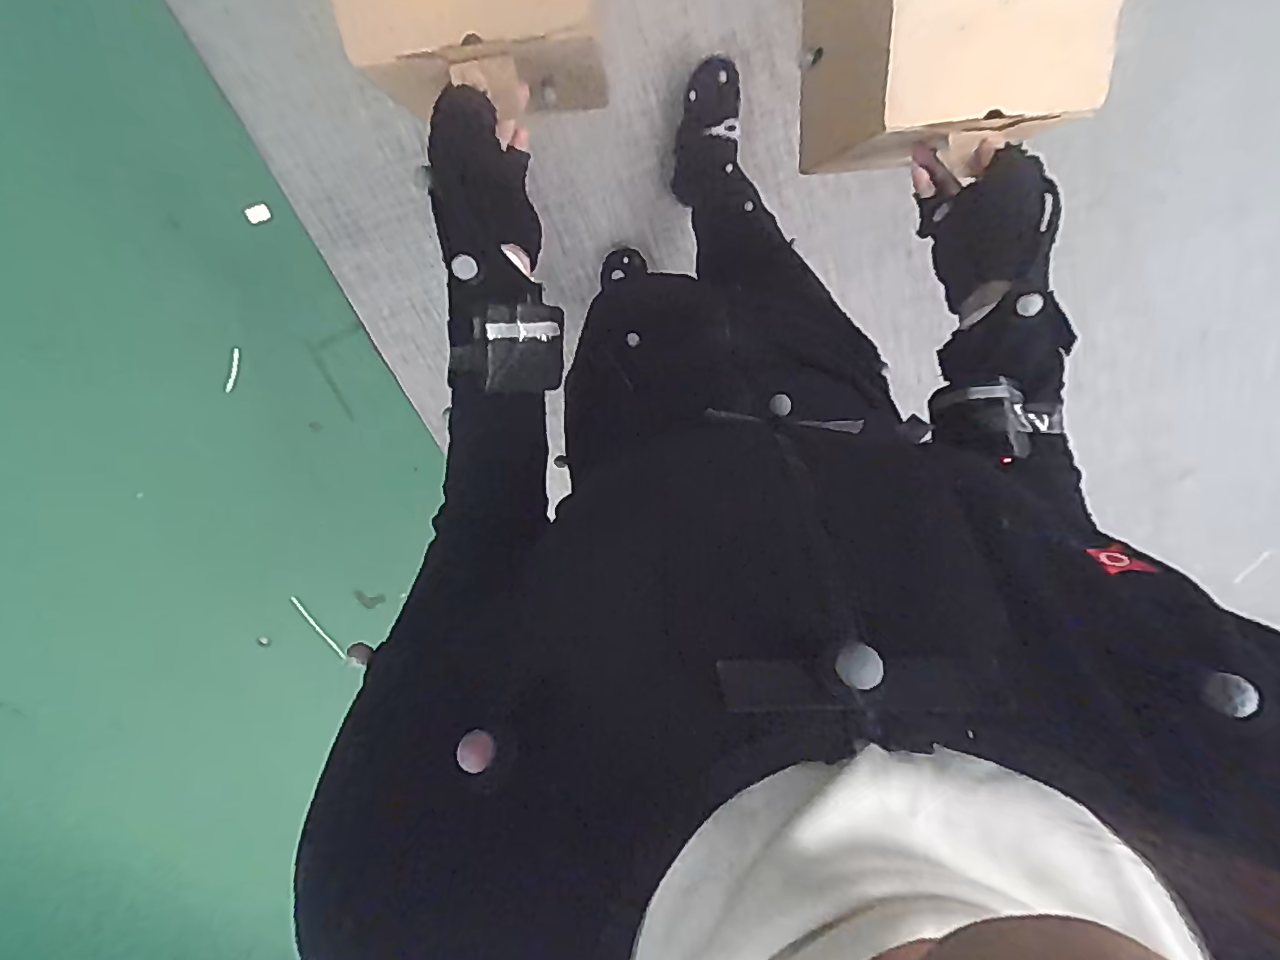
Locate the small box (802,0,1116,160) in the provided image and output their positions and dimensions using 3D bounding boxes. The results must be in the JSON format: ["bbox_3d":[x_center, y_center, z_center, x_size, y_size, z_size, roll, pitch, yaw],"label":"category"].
[{"bbox_3d":[0.243,-0.374,0.441,0.168,0.176,0.179,-6,111,-4],"label":"small box"}]

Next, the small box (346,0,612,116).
[{"bbox_3d":[-0.113,-0.393,0.399,0.168,0.176,0.179,-7,109,1],"label":"small box"}]
